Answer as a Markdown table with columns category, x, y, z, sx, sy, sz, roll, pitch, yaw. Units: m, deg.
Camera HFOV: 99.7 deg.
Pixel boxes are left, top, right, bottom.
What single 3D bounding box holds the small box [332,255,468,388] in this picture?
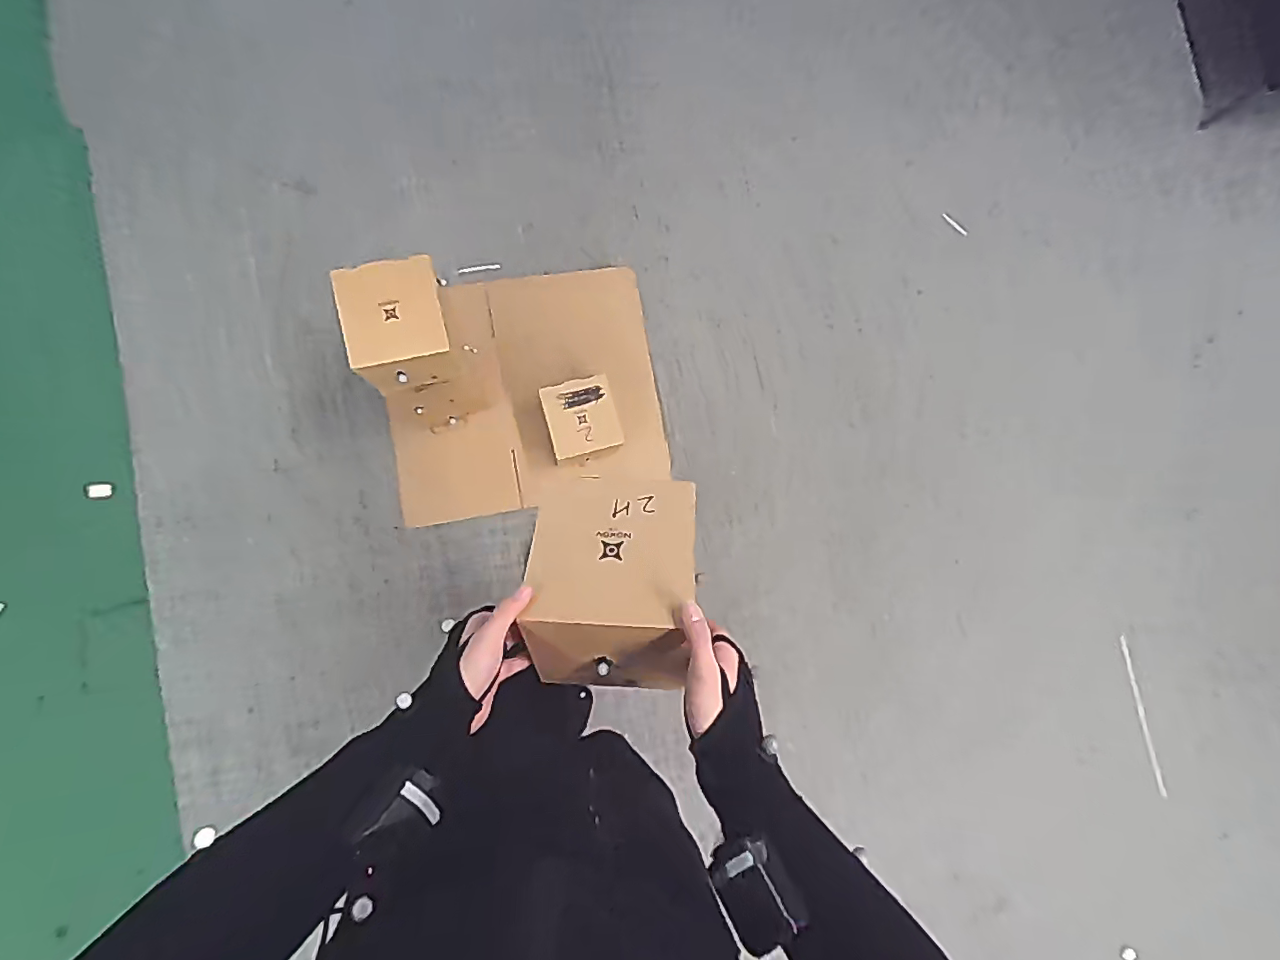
| category | x | y | z | sx | sy | sz | roll | pitch | yaw |
| --- | --- | --- | --- | --- | --- | --- | --- | --- | --- |
| small box | -0.425 | -0.277 | 0.988 | 0.168 | 0.176 | 0.179 | -14 | 86 | -8 |

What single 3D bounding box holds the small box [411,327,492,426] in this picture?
| category | x | y | z | sx | sy | sz | roll | pitch | yaw |
| --- | --- | --- | --- | --- | --- | --- | --- | --- | --- |
| small box | -0.470 | -0.246 | 1.309 | 0.168 | 0.176 | 0.179 | -17 | 88 | -8 |

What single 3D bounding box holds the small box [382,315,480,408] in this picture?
| category | x | y | z | sx | sy | sz | roll | pitch | yaw |
| --- | --- | --- | --- | --- | --- | --- | --- | --- | --- |
| small box | -0.450 | -0.260 | 1.147 | 0.168 | 0.176 | 0.179 | -14 | 86 | -8 |

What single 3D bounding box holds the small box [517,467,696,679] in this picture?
| category | x | y | z | sx | sy | sz | roll | pitch | yaw |
| --- | --- | --- | --- | --- | --- | --- | --- | --- | --- |
| small box | -0.025 | 0.107 | 0.602 | 0.168 | 0.176 | 0.179 | 3 | 50 | 3 |
